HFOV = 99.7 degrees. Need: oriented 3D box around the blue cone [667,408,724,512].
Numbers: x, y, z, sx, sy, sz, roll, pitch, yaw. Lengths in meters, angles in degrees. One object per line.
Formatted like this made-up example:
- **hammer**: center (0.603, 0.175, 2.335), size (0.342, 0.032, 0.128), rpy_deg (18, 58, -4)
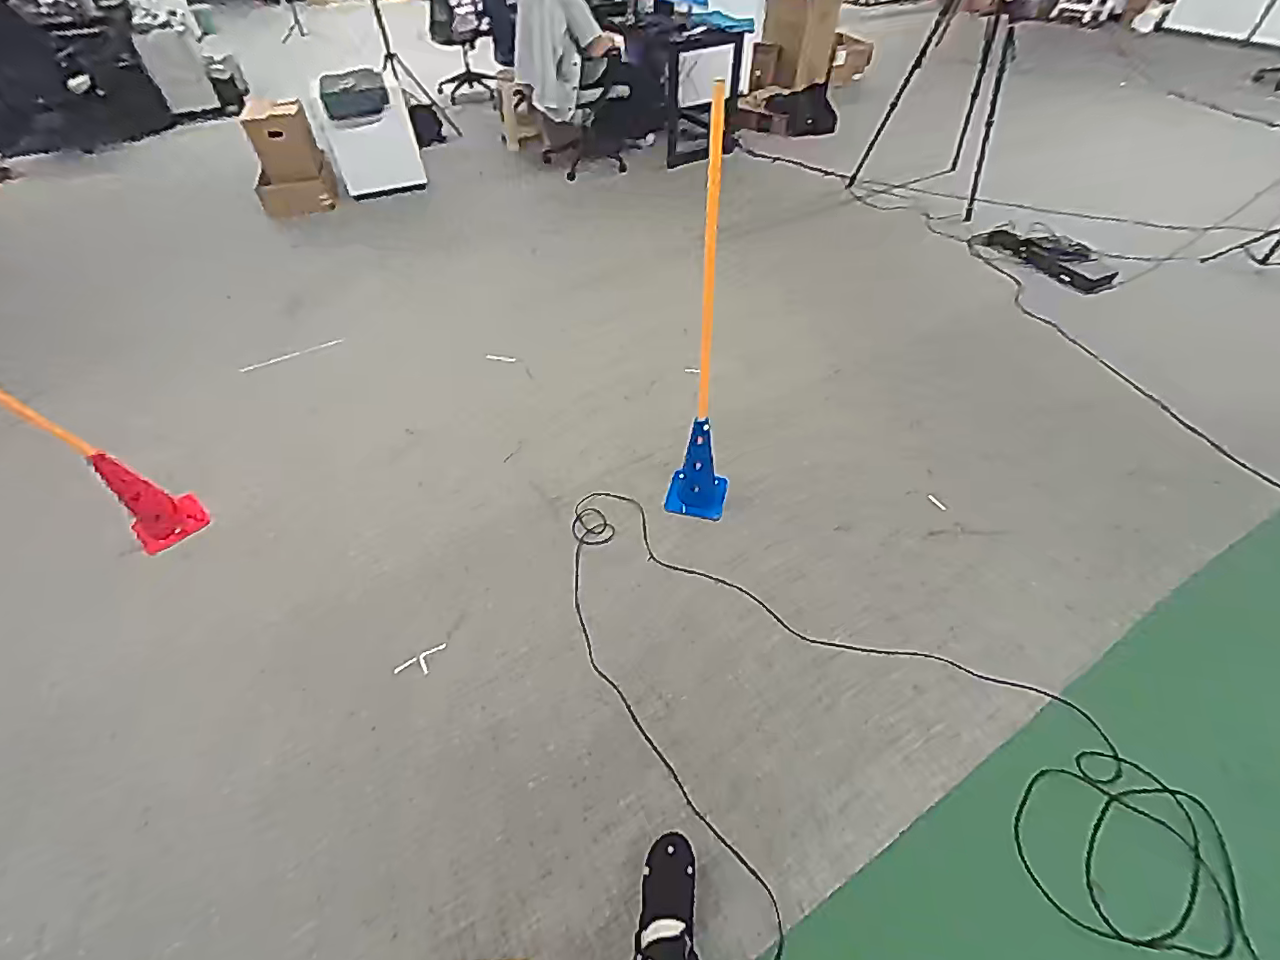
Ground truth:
- **blue cone**: center (0.193, -0.081, 1.787), size (0.192, 0.380, 0.193), rpy_deg (9, 47, 10)
